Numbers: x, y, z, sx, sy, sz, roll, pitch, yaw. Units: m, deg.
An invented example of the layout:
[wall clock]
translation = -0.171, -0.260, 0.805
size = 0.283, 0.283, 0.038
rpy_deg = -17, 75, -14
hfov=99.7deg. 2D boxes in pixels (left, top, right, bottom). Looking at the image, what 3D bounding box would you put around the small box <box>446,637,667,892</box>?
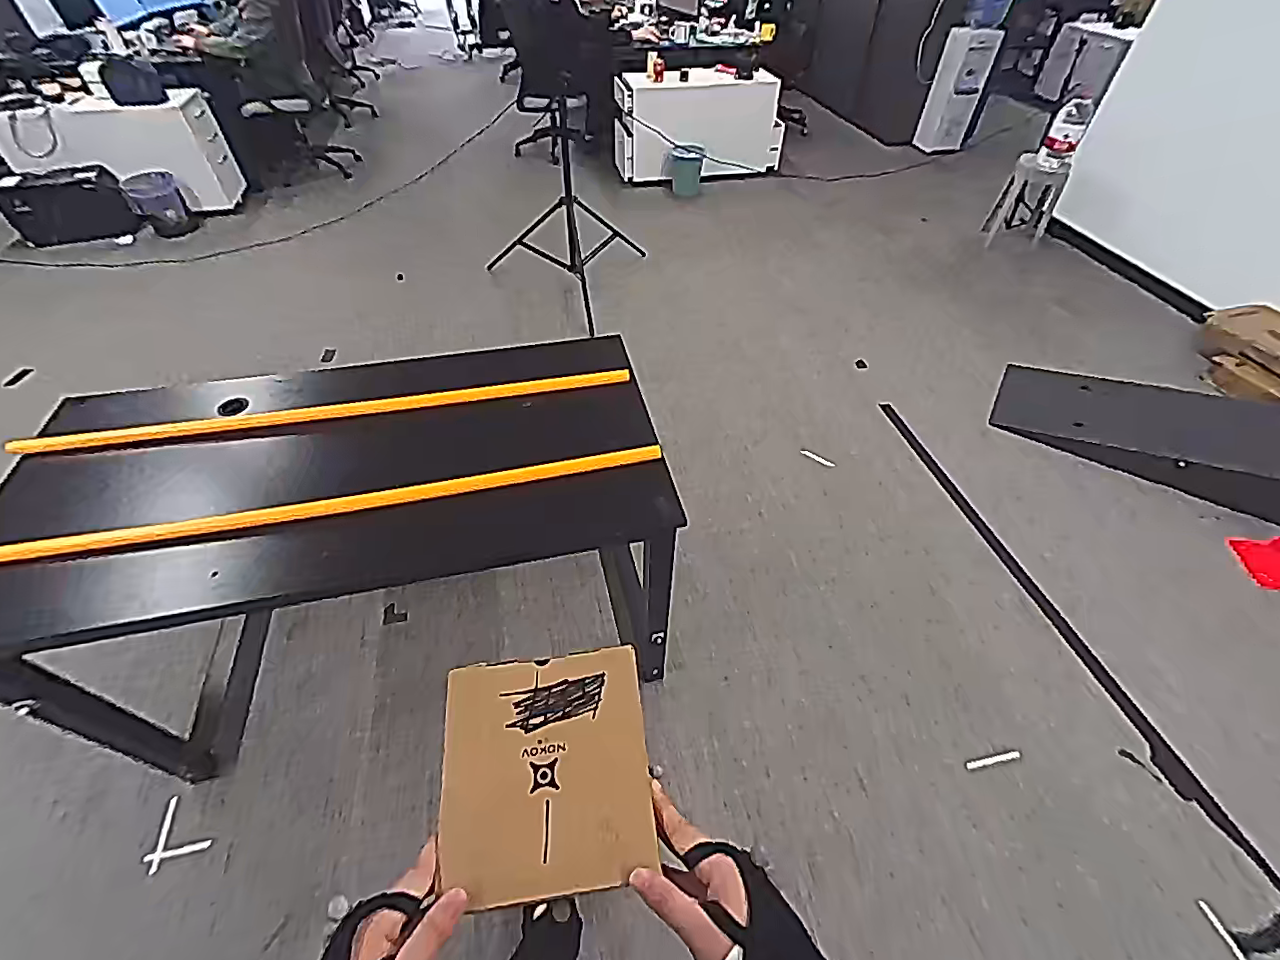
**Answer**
[small box]
translation = -0.071, 0.271, 0.512
size = 0.168, 0.176, 0.179
rpy_deg = -7, 53, -4
